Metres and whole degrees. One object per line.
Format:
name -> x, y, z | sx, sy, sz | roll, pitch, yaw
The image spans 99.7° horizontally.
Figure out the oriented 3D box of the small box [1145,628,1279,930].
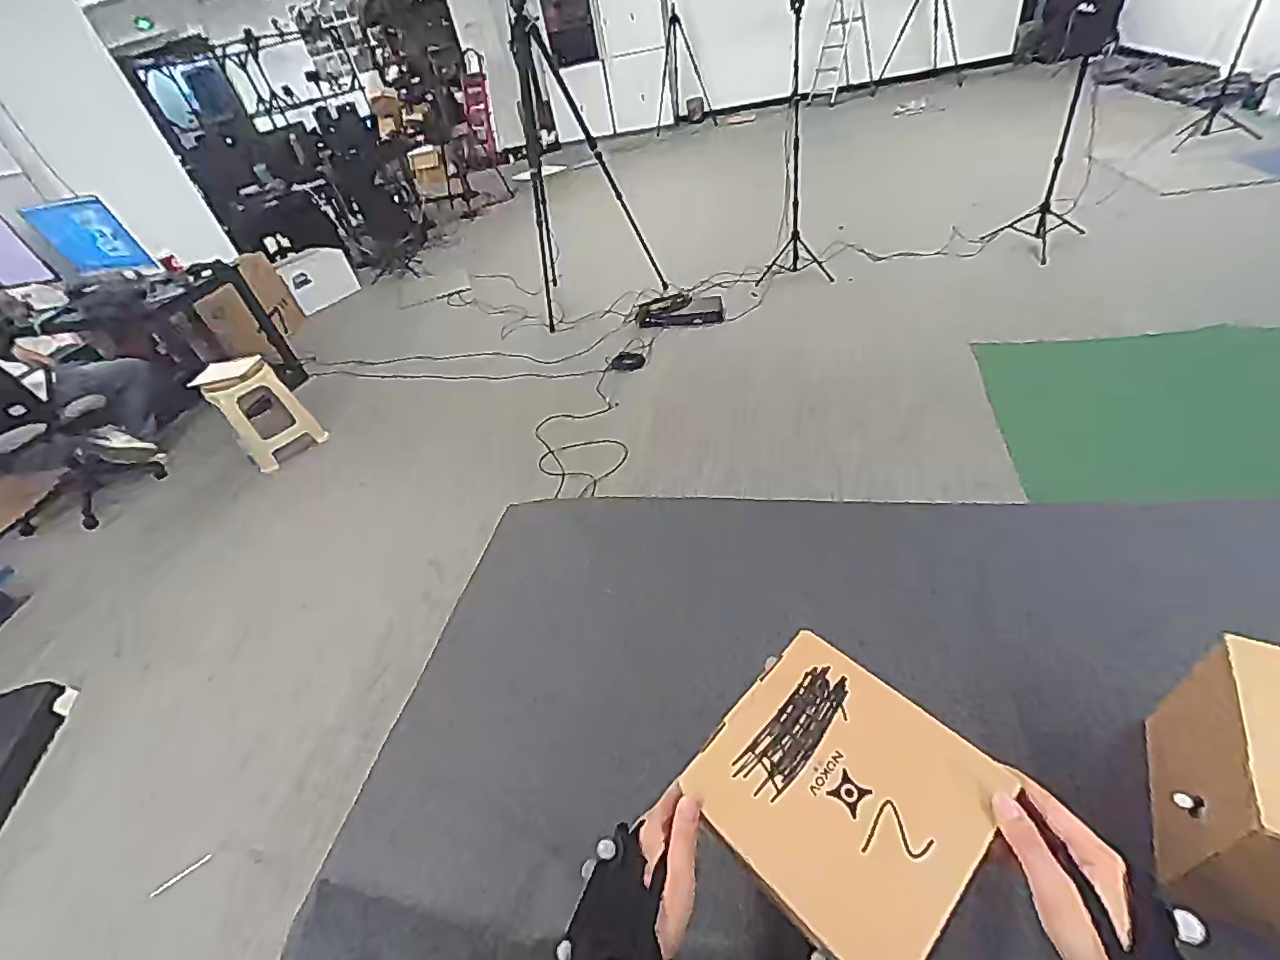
small box -> 0.552, 0.261, 0.437 | 0.168, 0.176, 0.179 | 15, 46, 28
